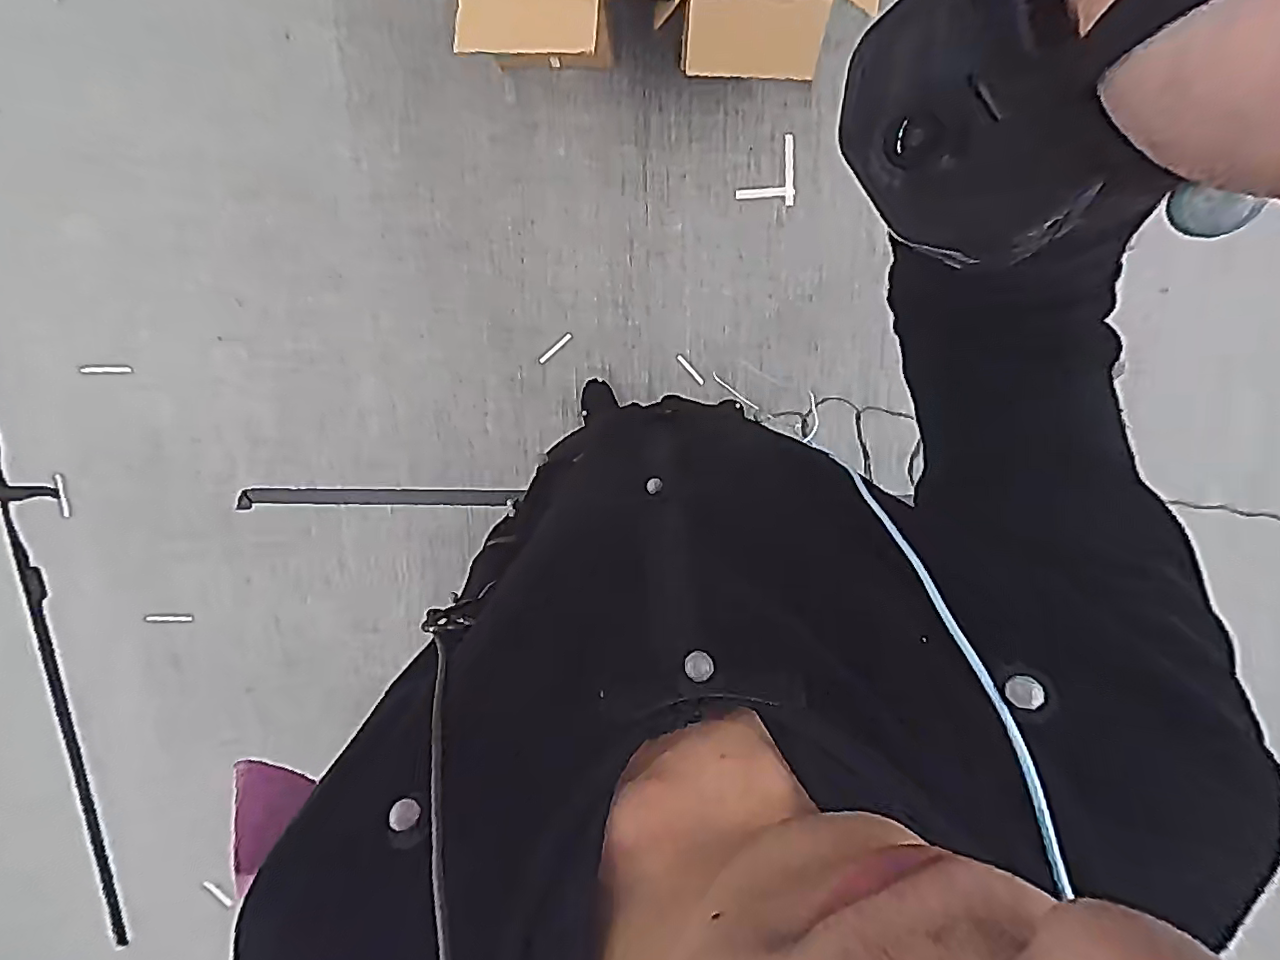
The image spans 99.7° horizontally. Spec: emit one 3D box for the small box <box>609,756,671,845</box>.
[{"bbox_3d":[0.005,0.954,1.620,0.179,0.176,0.168,-2,101,3],"label":"small box"}]
